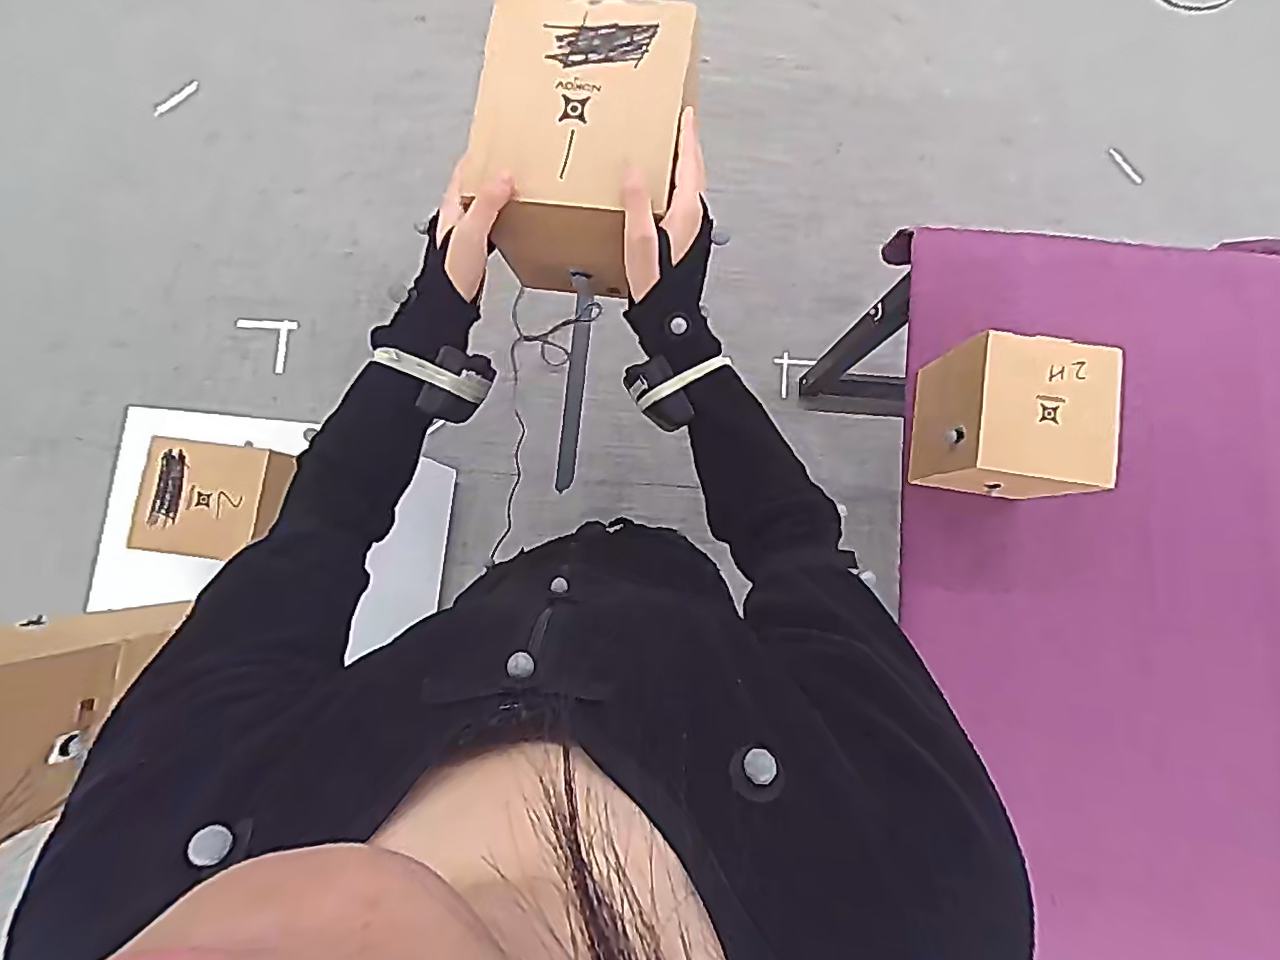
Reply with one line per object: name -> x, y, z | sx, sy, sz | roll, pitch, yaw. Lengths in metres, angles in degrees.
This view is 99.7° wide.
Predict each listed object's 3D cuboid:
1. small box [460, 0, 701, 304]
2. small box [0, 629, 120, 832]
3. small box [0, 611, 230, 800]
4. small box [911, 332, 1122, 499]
small box -> -0.040, -0.287, 0.497 | 0.168, 0.176, 0.179 | 9, 86, 6
small box -> -0.644, 0.233, 0.488 | 0.179, 0.176, 0.168 | 4, 84, 0
small box -> -0.644, 0.254, 0.649 | 0.179, 0.176, 0.168 | 4, 83, 0
small box -> 0.488, -0.074, 0.725 | 0.168, 0.176, 0.179 | 9, 83, 0
